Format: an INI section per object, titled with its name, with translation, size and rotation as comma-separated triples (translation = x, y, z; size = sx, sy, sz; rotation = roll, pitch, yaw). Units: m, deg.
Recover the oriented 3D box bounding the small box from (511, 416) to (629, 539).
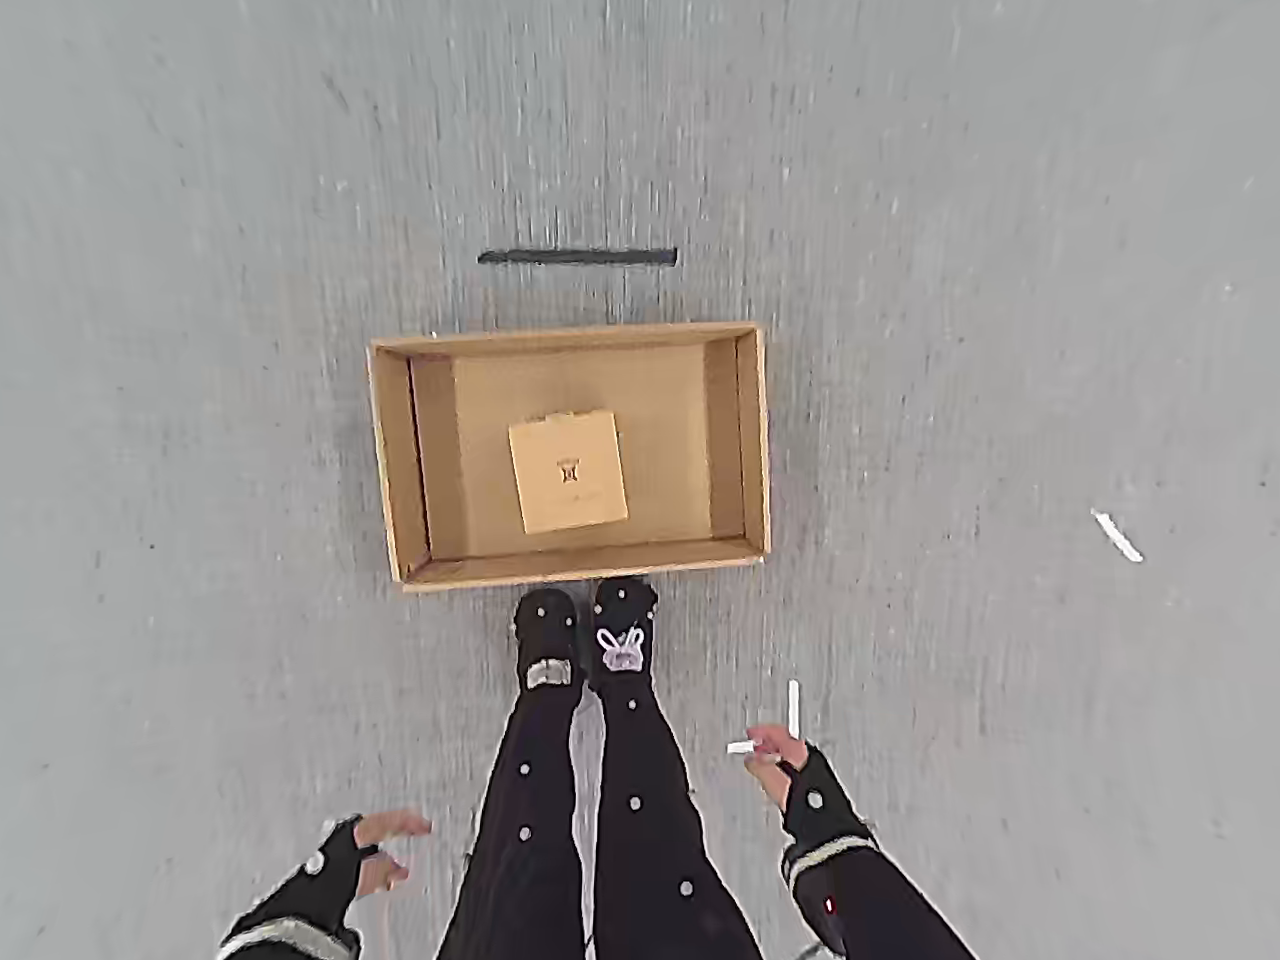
[small box]
translation = -0.115, -0.012, 0.928
size = 0.168, 0.176, 0.179
rotation = -9, 97, -3
